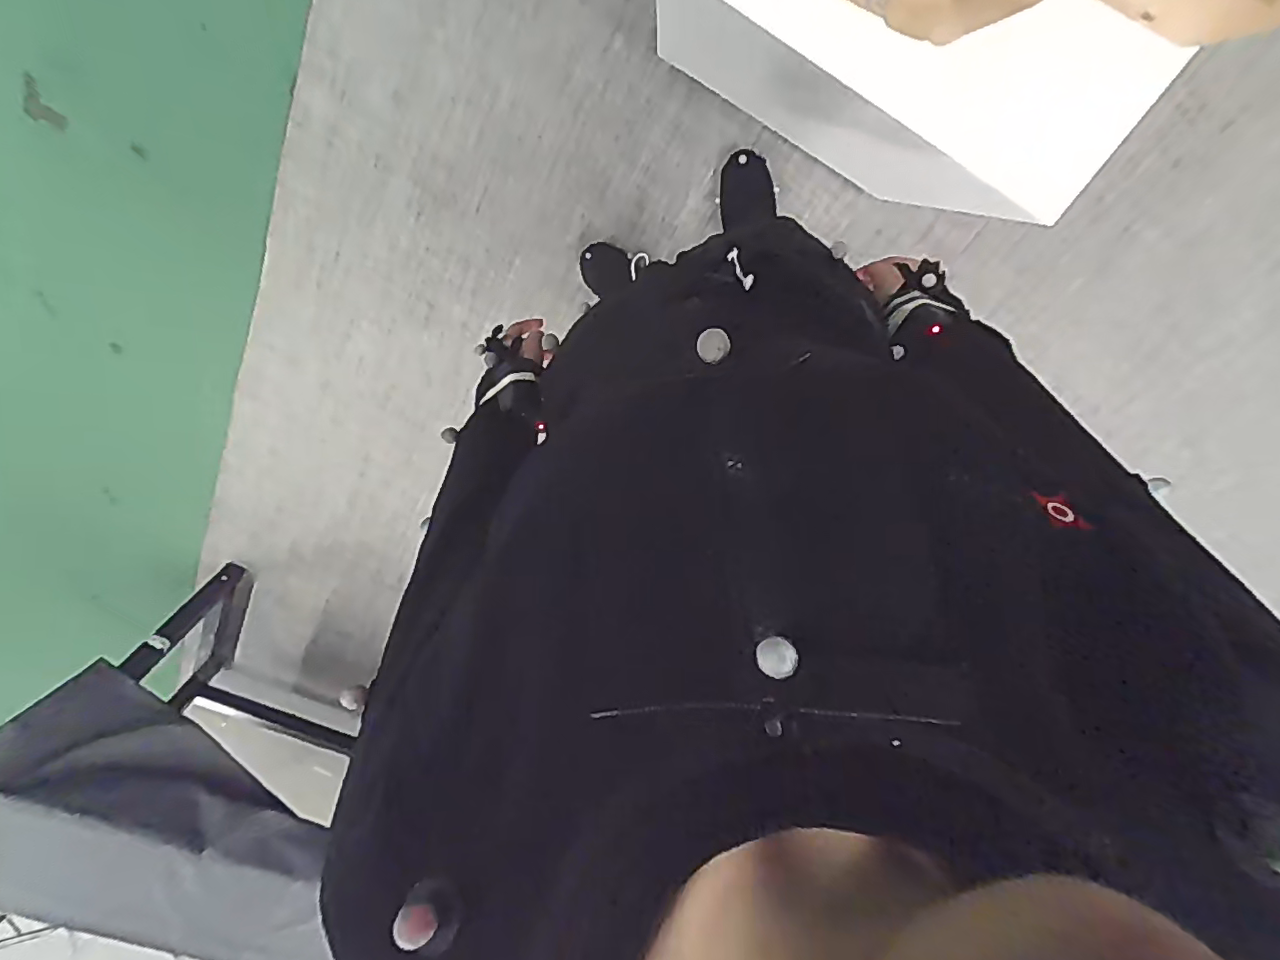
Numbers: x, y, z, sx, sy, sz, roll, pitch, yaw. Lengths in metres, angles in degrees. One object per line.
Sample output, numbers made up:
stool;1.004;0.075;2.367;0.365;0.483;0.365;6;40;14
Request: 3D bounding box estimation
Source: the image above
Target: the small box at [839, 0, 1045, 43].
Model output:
small box;0.243;-0.475;0.405;0.168;0.176;0.179;18;119;-8
